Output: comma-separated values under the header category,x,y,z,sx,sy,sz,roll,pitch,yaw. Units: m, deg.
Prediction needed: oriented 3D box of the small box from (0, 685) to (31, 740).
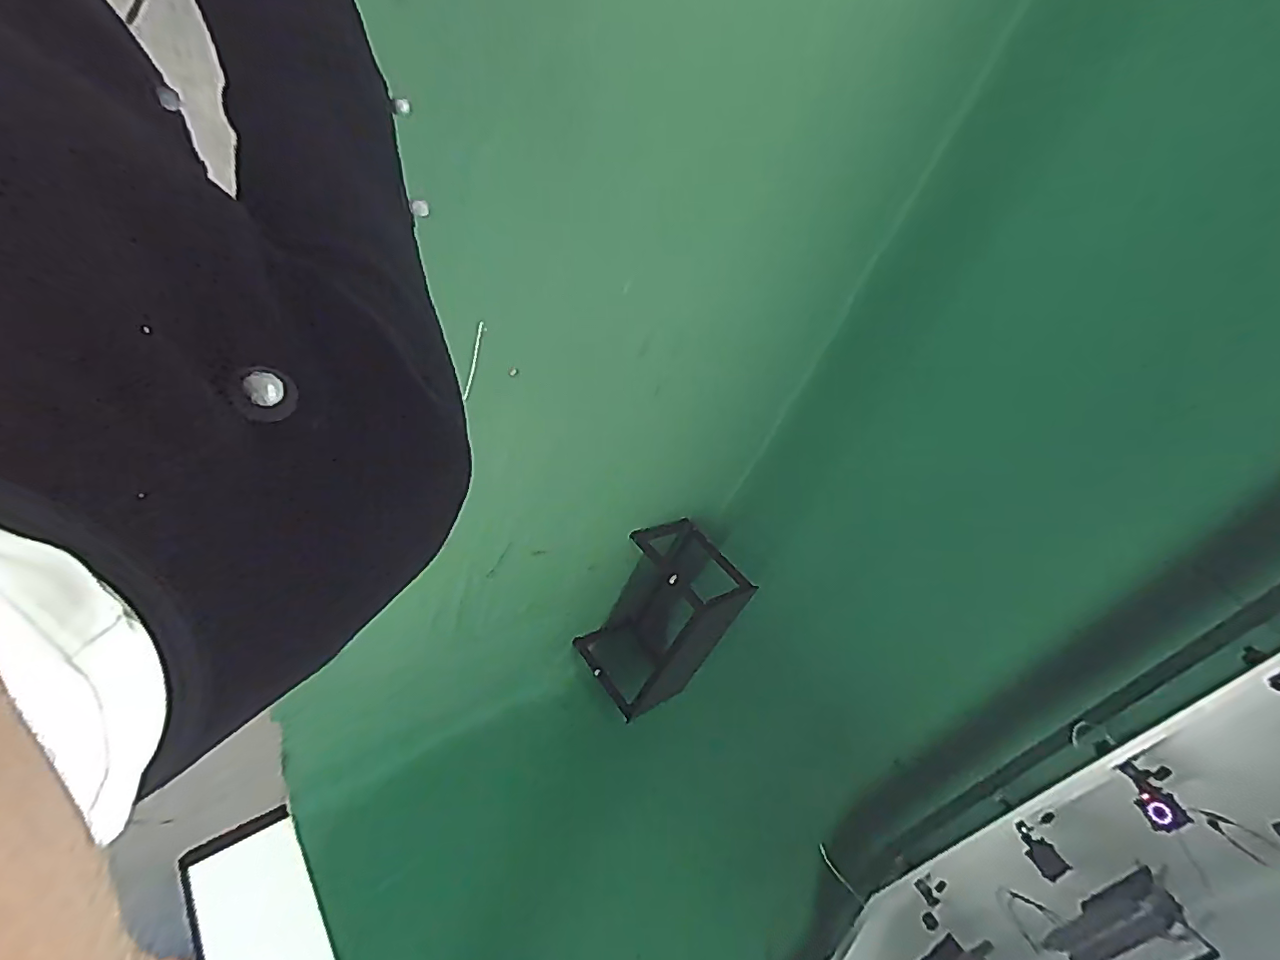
category,x,y,z,sx,sy,sz,roll,pitch,yaw
small box,-1.939,0.745,1.601,0.179,0.176,0.168,-4,132,-49
